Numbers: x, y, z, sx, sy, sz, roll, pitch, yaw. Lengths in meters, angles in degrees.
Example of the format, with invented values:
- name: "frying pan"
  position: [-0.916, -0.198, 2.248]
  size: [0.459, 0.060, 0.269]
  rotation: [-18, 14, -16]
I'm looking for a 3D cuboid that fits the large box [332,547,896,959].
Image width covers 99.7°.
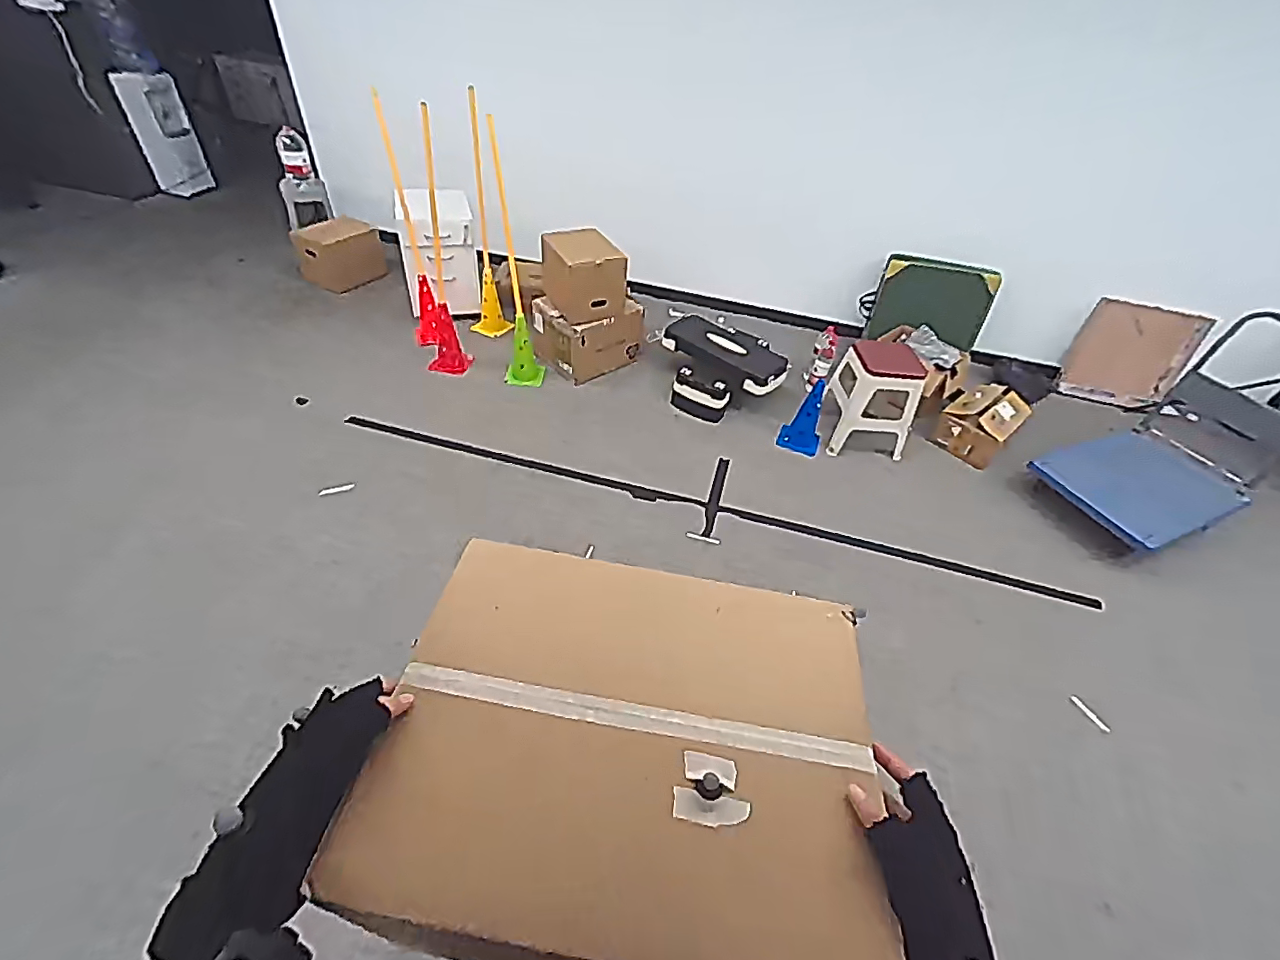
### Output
- name: "large box"
  position: [-0.017, 0.313, 0.577]
  size: [0.408, 0.320, 0.320]
  rotation: [10, 44, 3]
